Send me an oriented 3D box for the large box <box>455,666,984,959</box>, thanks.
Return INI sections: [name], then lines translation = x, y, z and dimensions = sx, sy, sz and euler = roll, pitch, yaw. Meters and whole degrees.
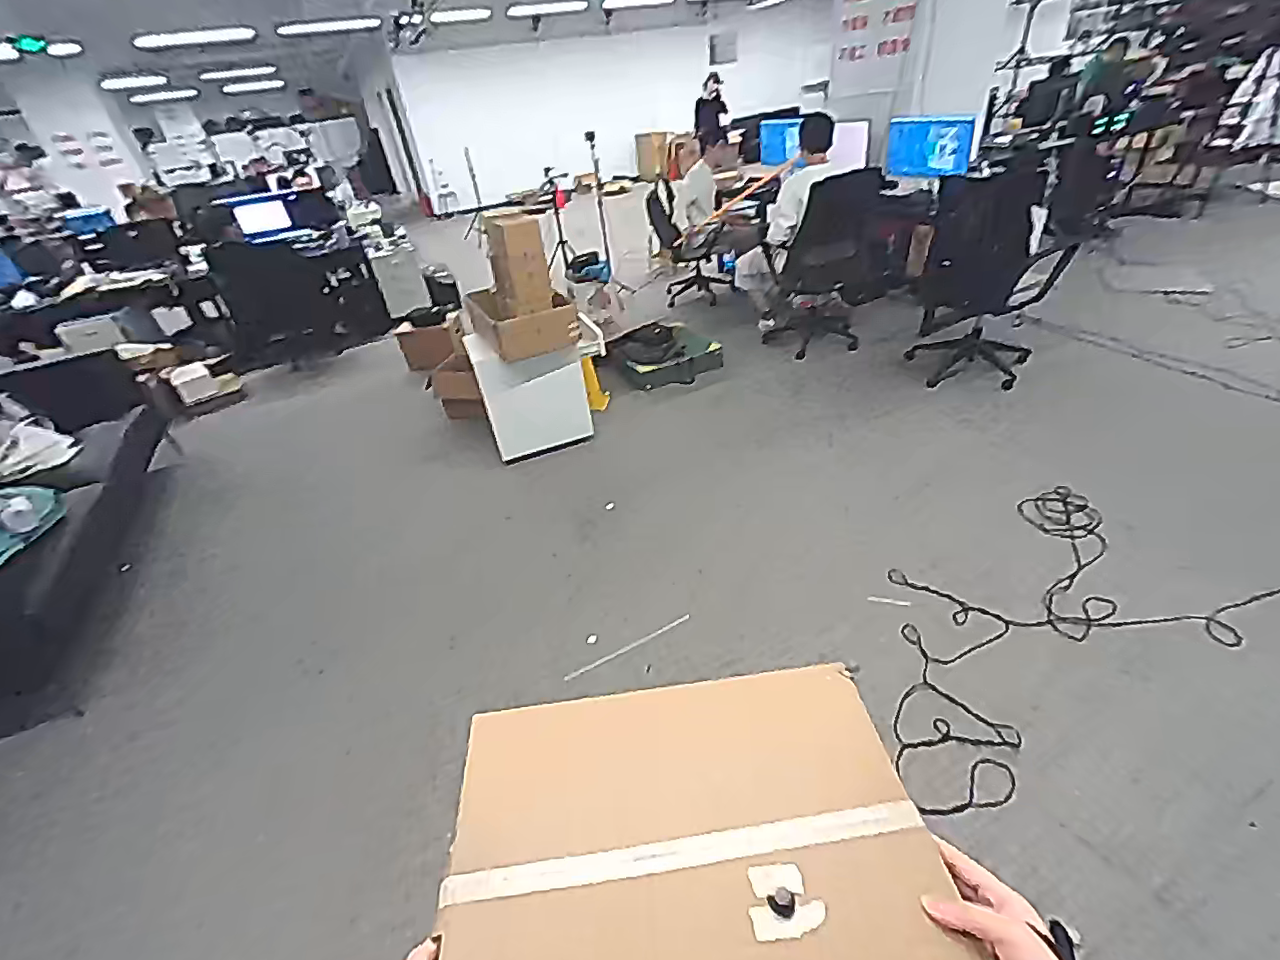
[large box]
translation = 0.053, 0.438, 0.557
dimensions = 0.408, 0.320, 0.320
euler = -6, 36, -3
